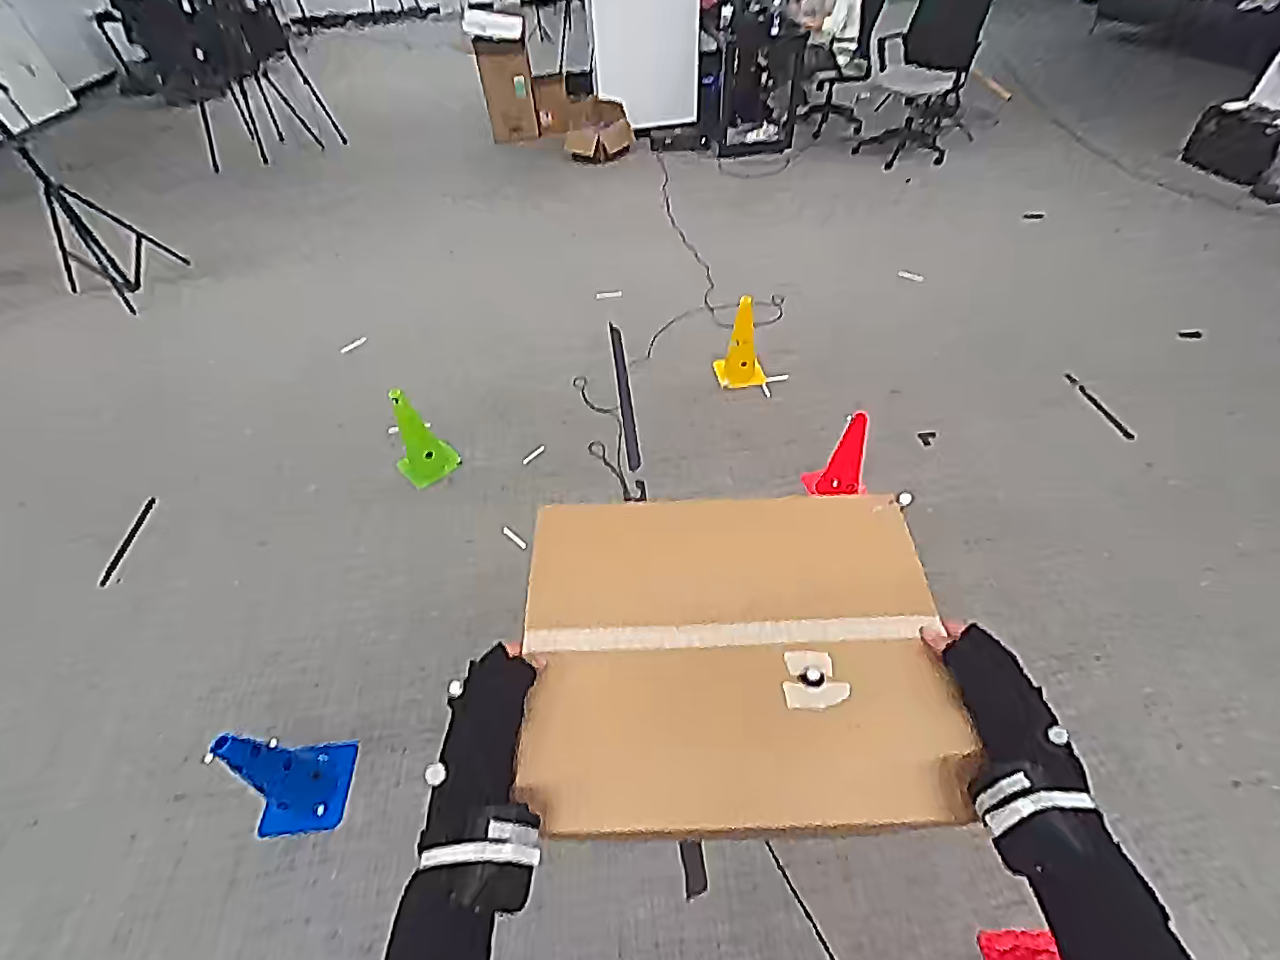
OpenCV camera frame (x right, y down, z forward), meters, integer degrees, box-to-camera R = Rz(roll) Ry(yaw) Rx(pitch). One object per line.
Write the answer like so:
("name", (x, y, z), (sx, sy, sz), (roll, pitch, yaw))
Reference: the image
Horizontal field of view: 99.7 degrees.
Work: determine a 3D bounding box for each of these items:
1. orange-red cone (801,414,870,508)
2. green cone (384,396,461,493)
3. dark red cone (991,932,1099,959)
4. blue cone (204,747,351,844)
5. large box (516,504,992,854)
("orange-red cone", (0.680, -0.071, 1.785), (0.198, 0.360, 0.199), (-9, 46, -5))
("green cone", (-0.841, -0.163, 1.988), (0.200, 0.368, 0.202), (35, 60, 31))
("dark red cone", (0.776, 0.866, 0.888), (0.201, 0.394, 0.202), (-4, 47, 2))
("blue cone", (-0.847, 0.685, 1.238), (0.192, 0.380, 0.193), (-6, 47, 0))
("large box", (0.090, 0.248, 0.649), (0.408, 0.320, 0.320), (-2, 55, 0))
